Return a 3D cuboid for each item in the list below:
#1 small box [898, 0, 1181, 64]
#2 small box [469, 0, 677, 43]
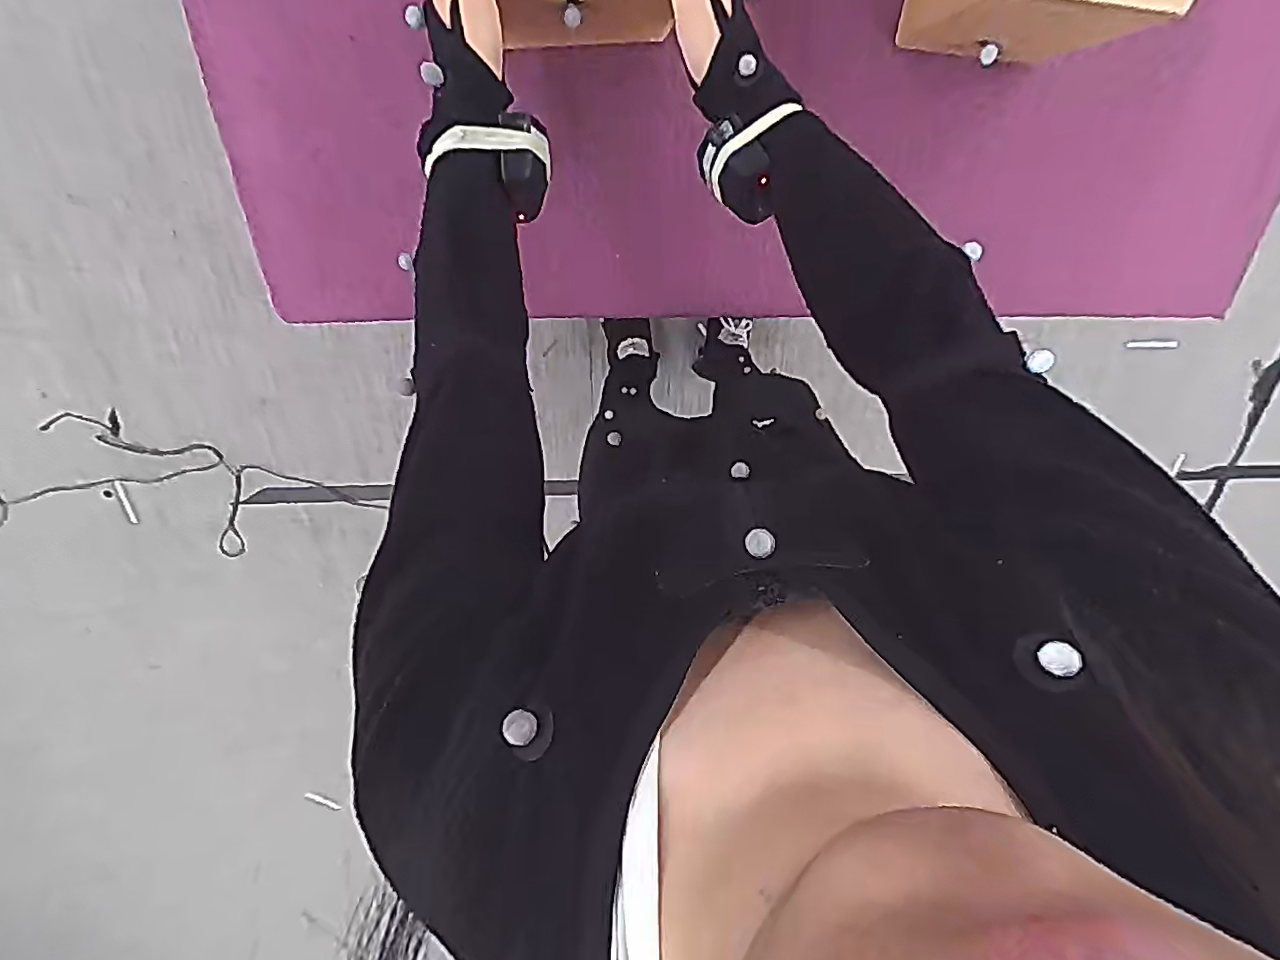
[{"bbox_3d":[0.356,-0.495,0.467,0.168,0.176,0.179,2,117,-7],"label":"small box"},{"bbox_3d":[-0.057,-0.476,0.433,0.179,0.176,0.168,-5,117,-3],"label":"small box"}]
